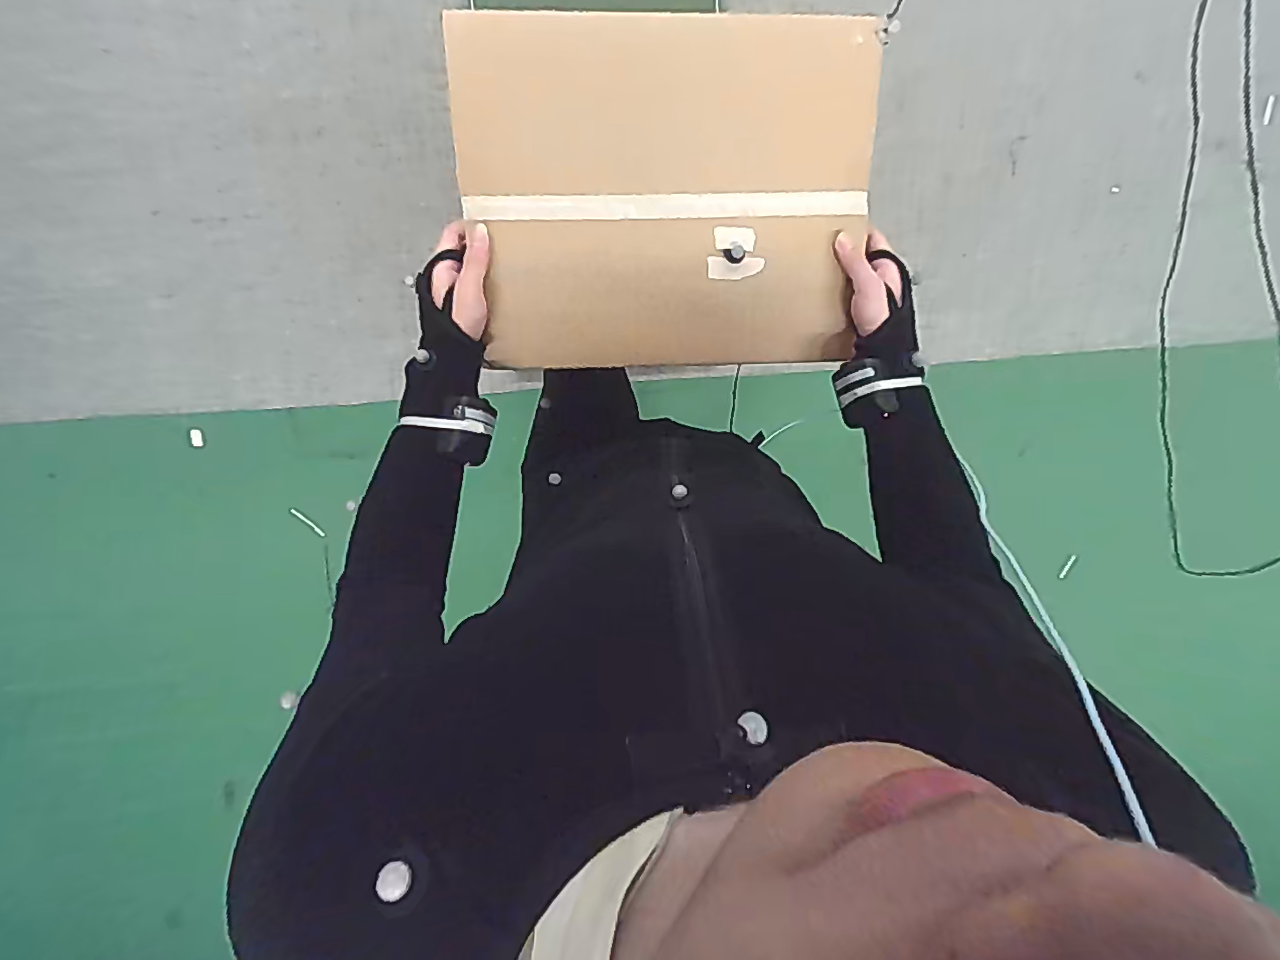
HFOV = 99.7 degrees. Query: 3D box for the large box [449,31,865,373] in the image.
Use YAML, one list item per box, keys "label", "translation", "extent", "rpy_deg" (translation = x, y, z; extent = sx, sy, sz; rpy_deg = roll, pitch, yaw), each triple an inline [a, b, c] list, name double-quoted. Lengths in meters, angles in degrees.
- label: "large box"
  translation: [0.013, -0.319, 0.695]
  extent: [0.408, 0.320, 0.320]
  rpy_deg: [-3, 109, -4]
